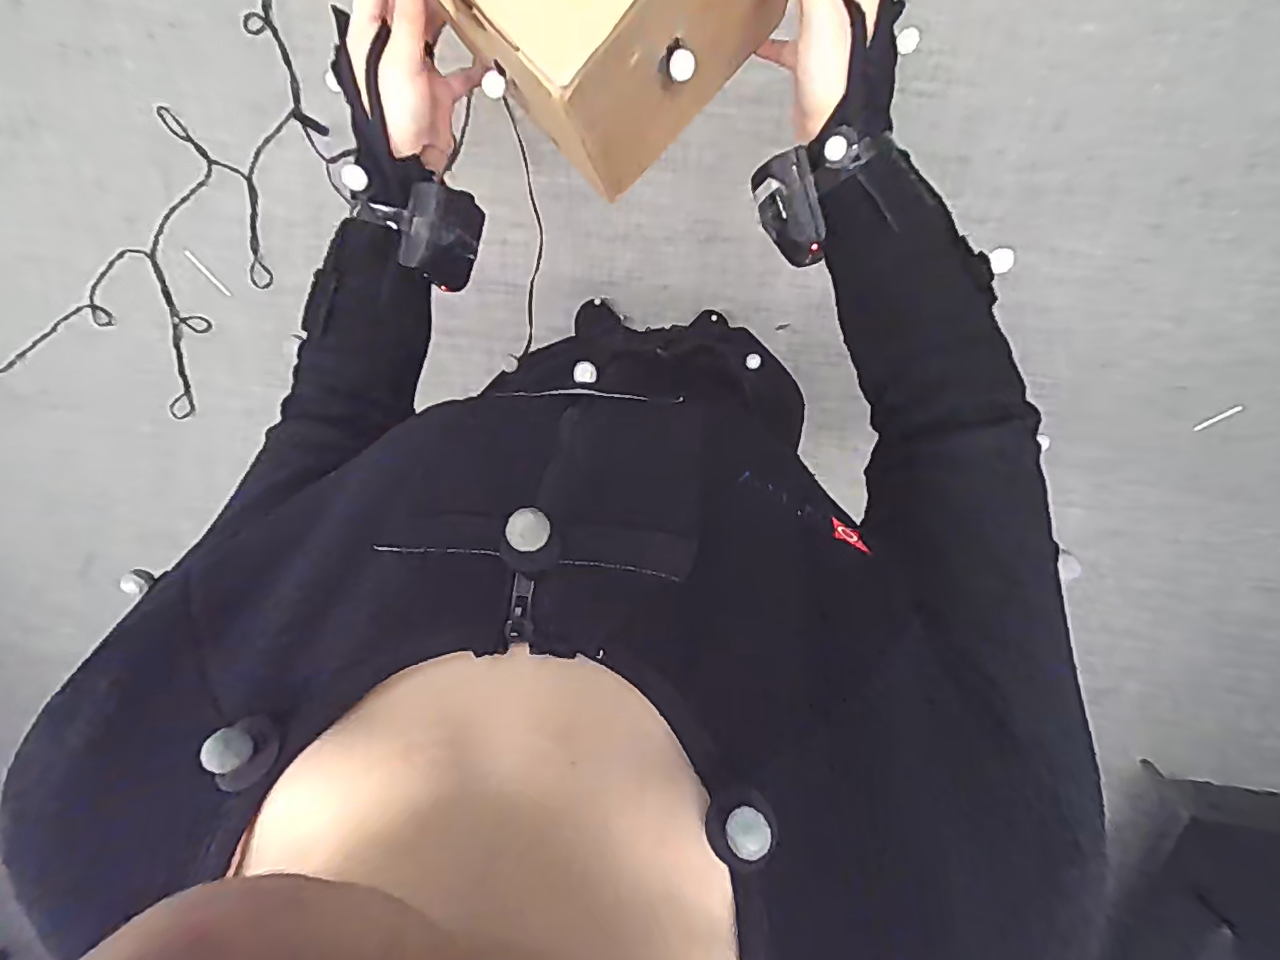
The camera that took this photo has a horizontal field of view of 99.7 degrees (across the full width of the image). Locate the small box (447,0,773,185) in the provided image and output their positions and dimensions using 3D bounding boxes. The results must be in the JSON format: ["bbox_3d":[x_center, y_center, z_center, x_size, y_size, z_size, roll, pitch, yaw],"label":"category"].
[{"bbox_3d":[-0.023,-0.319,0.322,0.179,0.176,0.168,-43,94,12],"label":"small box"}]
